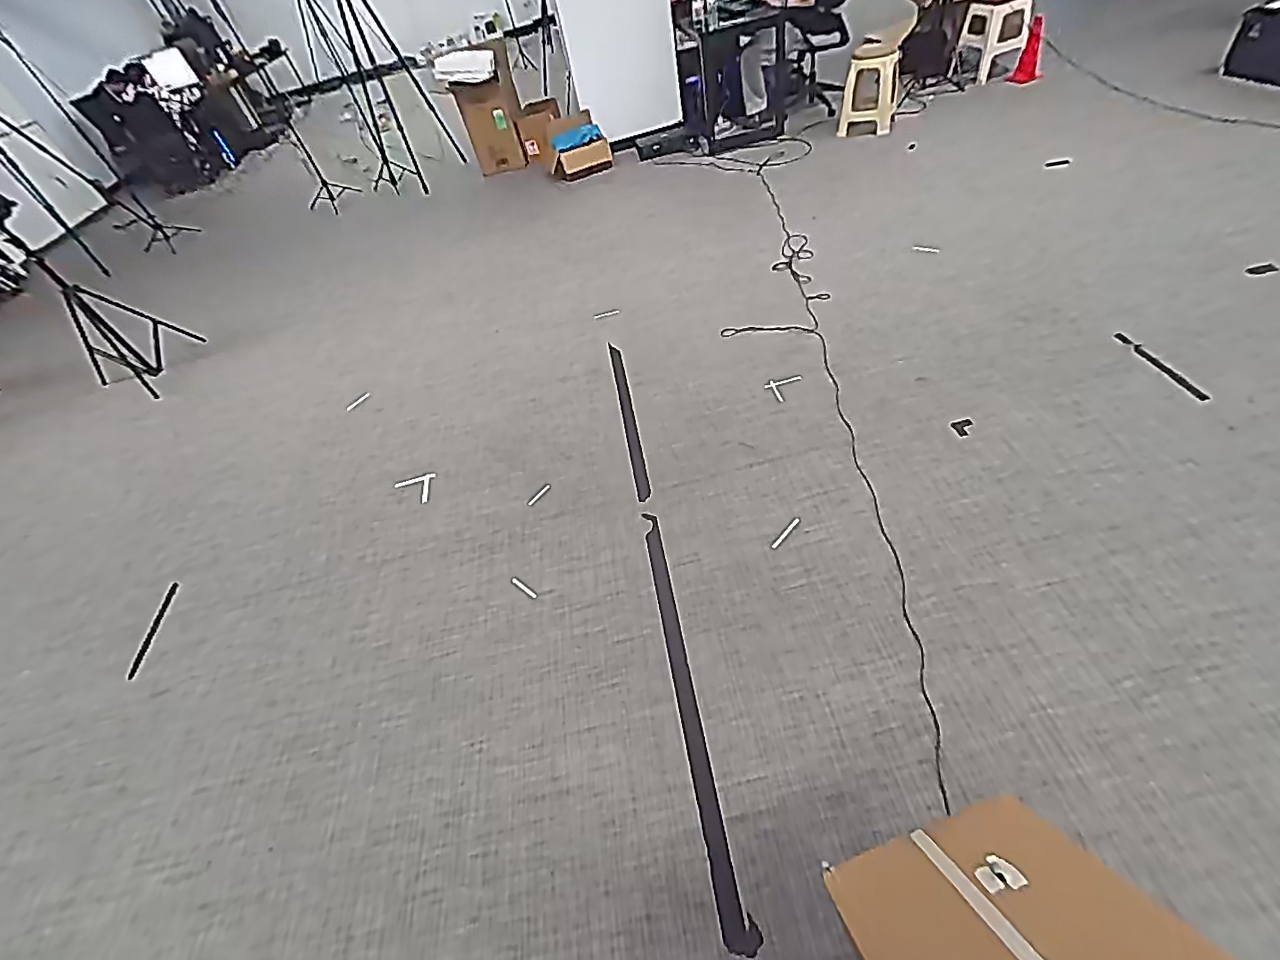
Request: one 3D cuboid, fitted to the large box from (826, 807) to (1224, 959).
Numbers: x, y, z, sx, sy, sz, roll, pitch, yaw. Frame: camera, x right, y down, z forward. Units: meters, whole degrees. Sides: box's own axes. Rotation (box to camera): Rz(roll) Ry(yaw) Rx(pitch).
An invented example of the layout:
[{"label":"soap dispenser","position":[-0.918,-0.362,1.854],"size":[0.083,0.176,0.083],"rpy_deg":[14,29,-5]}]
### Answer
[{"label":"large box","position":[0.477,0.670,0.610],"size":[0.320,0.408,0.320],"rpy_deg":[-20,84,-2]}]
